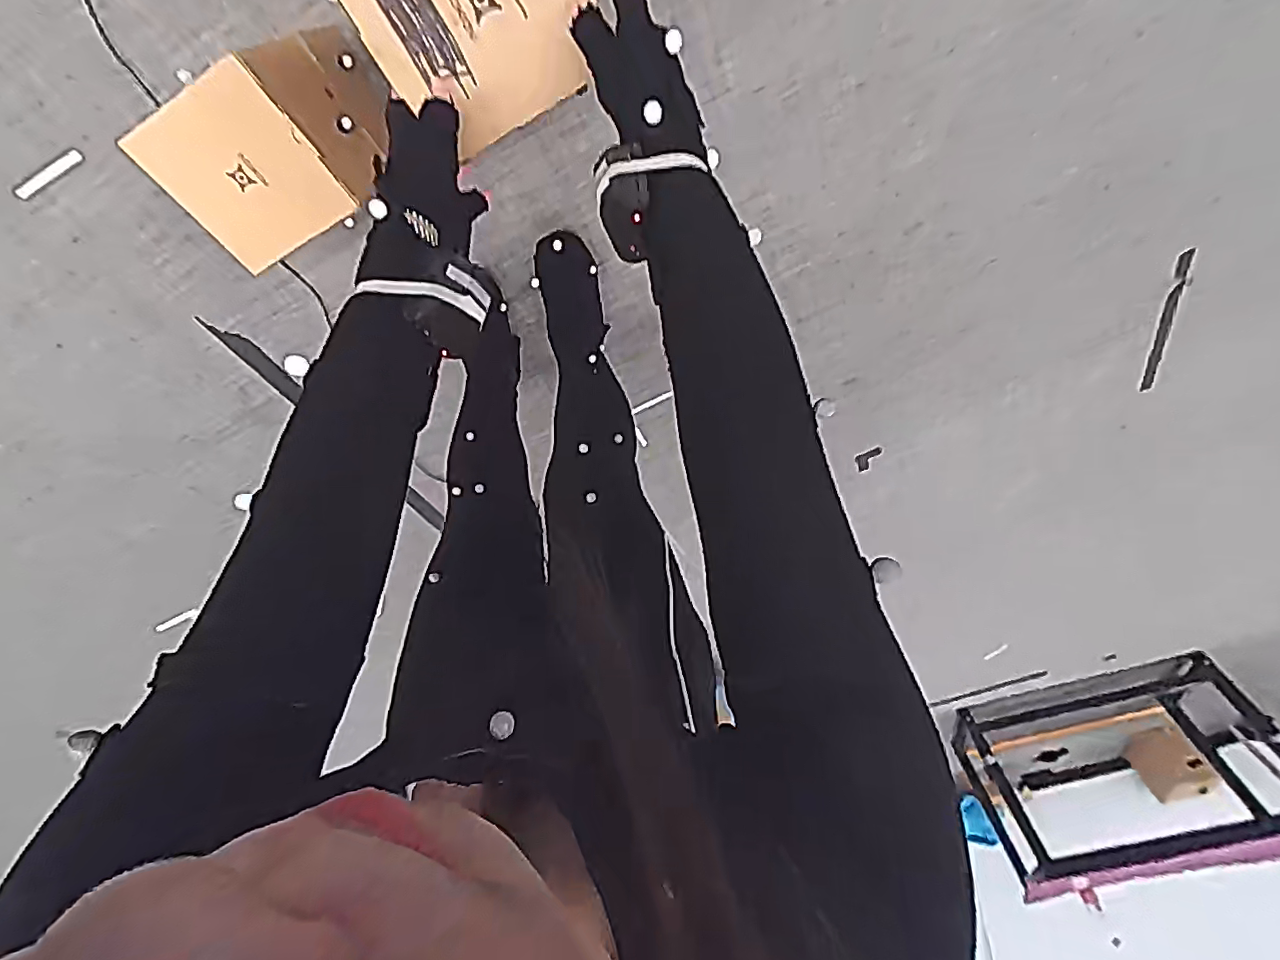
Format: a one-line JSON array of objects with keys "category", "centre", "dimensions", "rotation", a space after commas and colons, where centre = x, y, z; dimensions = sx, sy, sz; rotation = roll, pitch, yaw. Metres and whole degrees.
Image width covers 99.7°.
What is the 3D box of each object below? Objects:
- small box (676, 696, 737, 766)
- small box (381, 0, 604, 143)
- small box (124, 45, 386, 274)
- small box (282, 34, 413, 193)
[{"category": "small box", "centre": [0.241, 0.929, 2.000], "dimensions": [0.179, 0.176, 0.168], "rotation": [-20, 134, 9]}, {"category": "small box", "centre": [-0.159, -0.515, 0.592], "dimensions": [0.179, 0.176, 0.168], "rotation": [-25, 131, 13]}, {"category": "small box", "centre": [-0.449, -0.393, 0.666], "dimensions": [0.179, 0.176, 0.168], "rotation": [-24, 132, 14]}, {"category": "small box", "centre": [-0.461, -0.507, 0.781], "dimensions": [0.168, 0.176, 0.179], "rotation": [-21, 134, 11]}]
